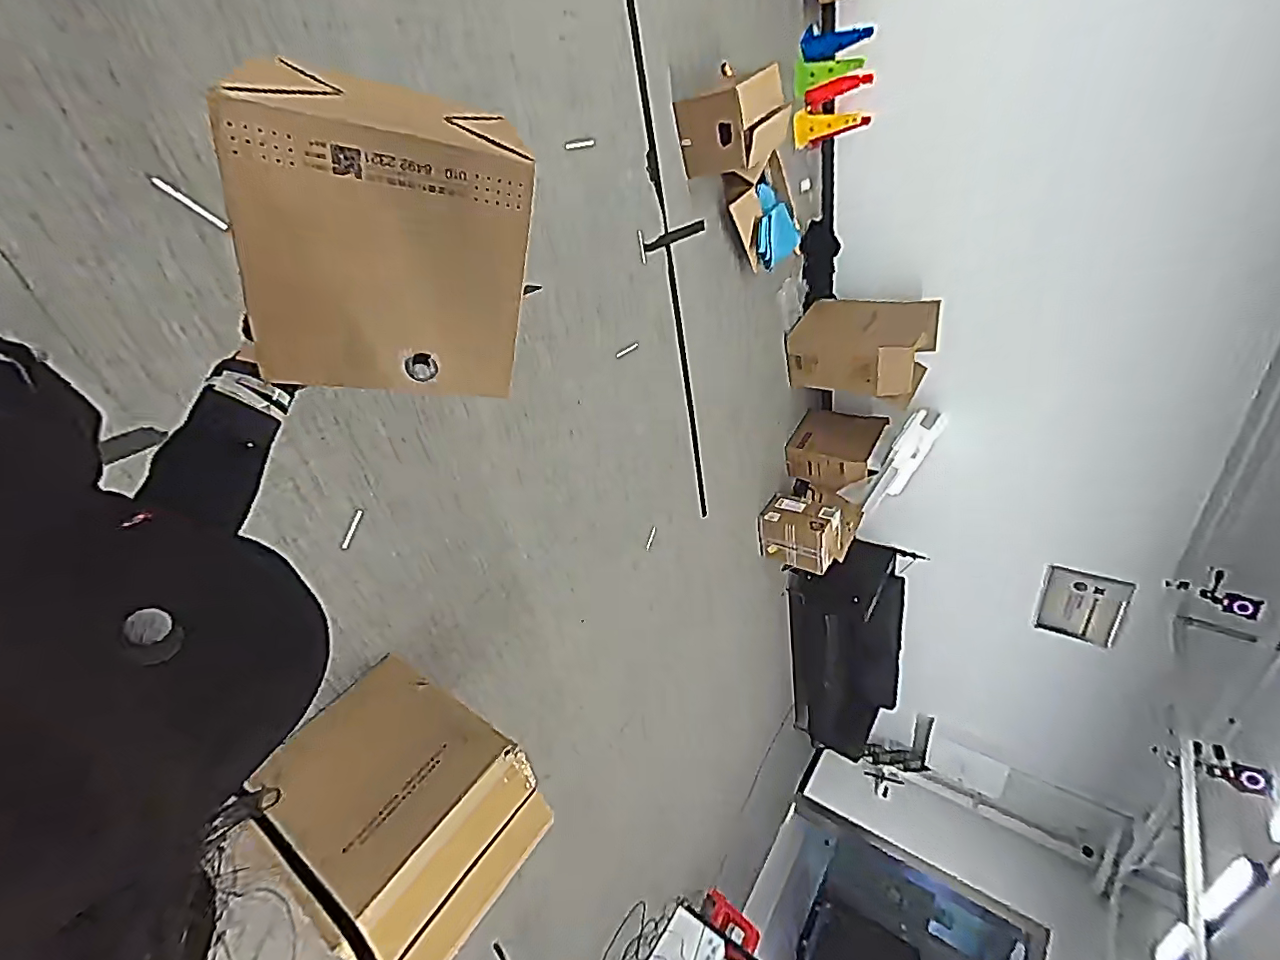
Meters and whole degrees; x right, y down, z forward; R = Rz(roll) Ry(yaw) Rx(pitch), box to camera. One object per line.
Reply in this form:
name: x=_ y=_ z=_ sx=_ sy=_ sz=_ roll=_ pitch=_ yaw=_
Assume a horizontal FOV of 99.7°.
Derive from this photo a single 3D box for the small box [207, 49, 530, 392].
small box: x=-0.181 y=-0.187 z=0.396 sx=0.168 sy=0.179 sz=0.176 roll=1 pitch=130 yaw=-22
